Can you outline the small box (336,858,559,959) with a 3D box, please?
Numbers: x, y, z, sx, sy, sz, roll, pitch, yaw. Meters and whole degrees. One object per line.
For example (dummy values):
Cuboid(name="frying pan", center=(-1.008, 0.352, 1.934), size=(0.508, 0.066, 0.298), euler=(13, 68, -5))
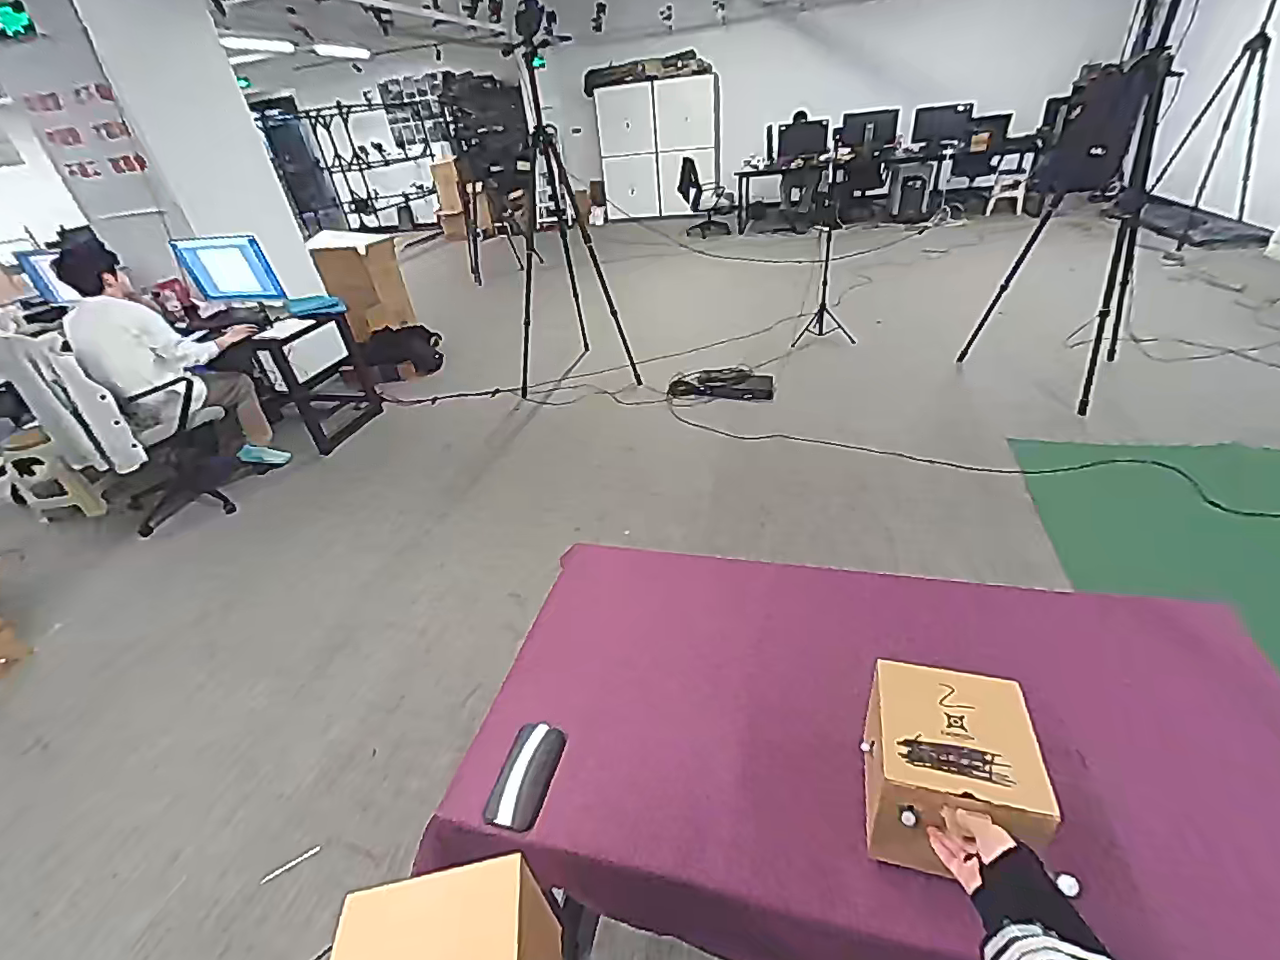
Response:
Cuboid(name="small box", center=(-0.167, 0.487, 0.482), size=(0.168, 0.176, 0.179), euler=(-12, 33, -3))
